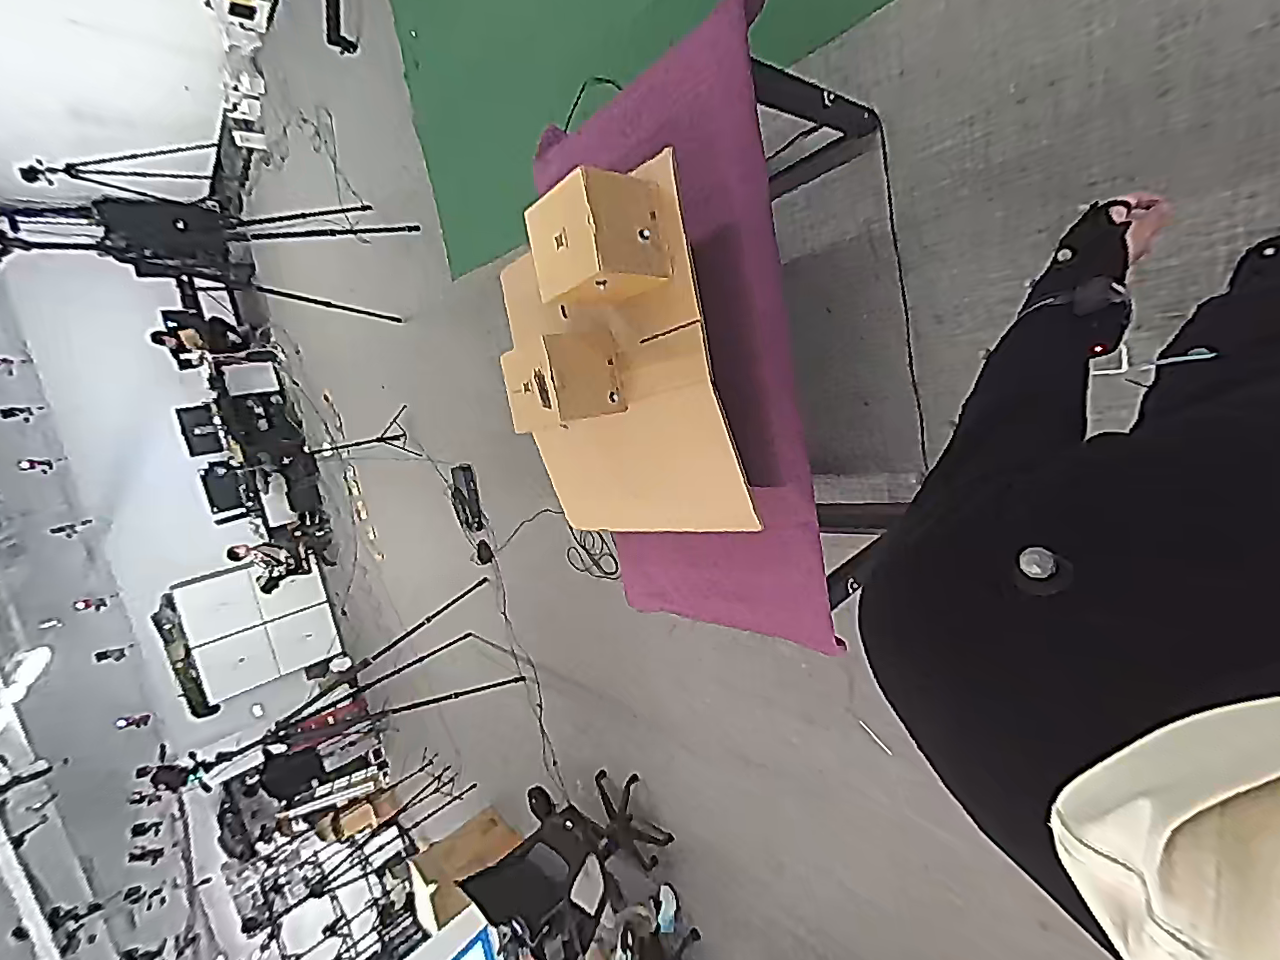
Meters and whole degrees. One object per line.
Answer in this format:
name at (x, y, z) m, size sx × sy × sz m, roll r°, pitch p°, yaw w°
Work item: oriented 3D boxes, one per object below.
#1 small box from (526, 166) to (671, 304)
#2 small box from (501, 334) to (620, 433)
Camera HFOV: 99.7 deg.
small box at (-0.072, -0.416, 0.955) m, size 0.179 × 0.176 × 0.168 m, roll -6°, pitch 98°, yaw 47°
small box at (-0.156, -0.198, 1.109) m, size 0.179 × 0.176 × 0.168 m, roll -6°, pitch 97°, yaw 49°
